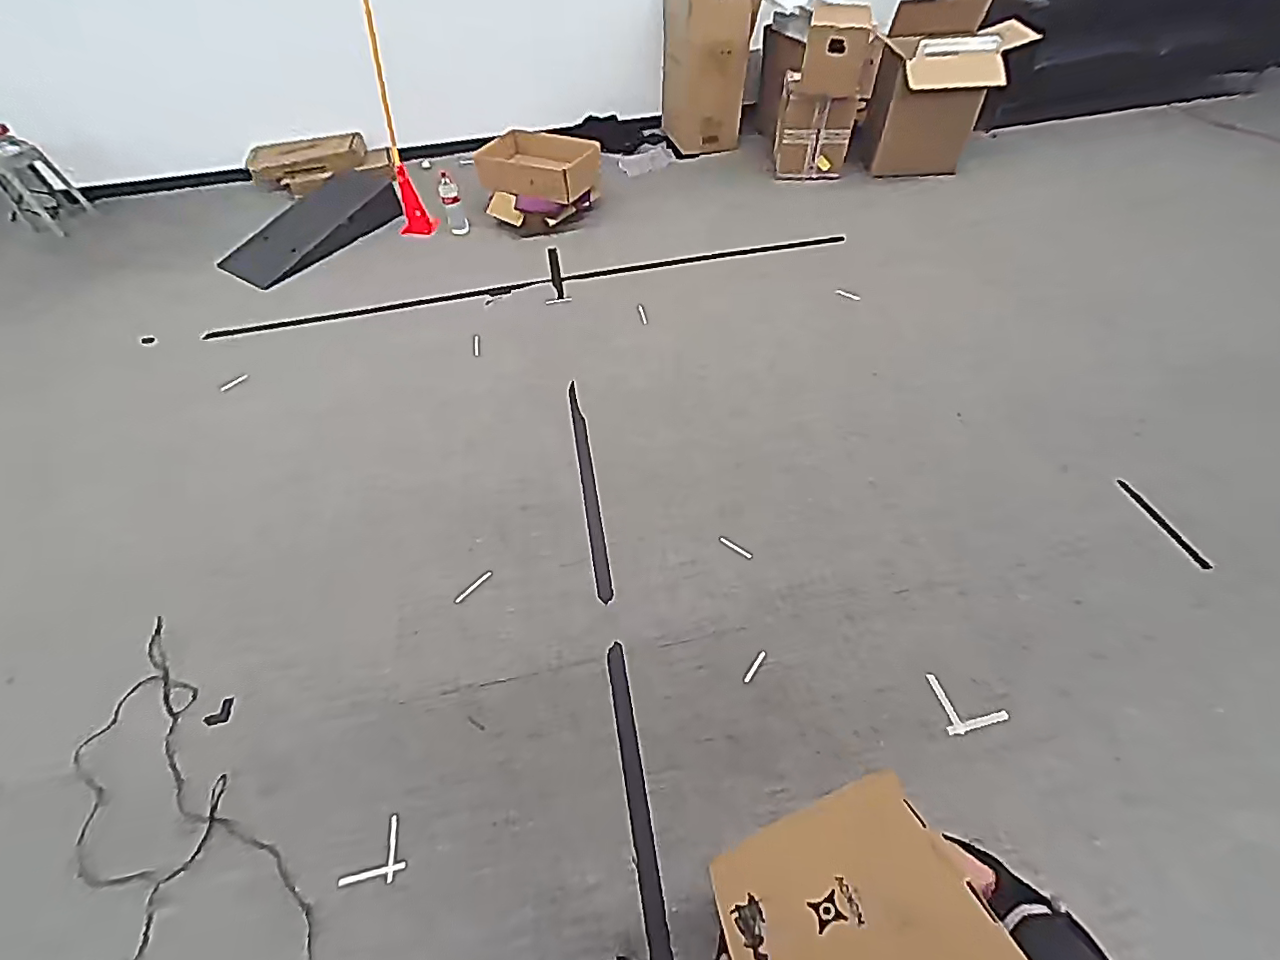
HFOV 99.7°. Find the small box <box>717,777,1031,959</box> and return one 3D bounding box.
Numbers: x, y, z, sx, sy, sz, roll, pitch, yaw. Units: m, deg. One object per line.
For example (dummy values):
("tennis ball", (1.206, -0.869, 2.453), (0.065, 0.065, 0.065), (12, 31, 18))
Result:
("small box", (0.187, 0.385, 0.415), (0.179, 0.176, 0.168), (-28, 12, 0))
